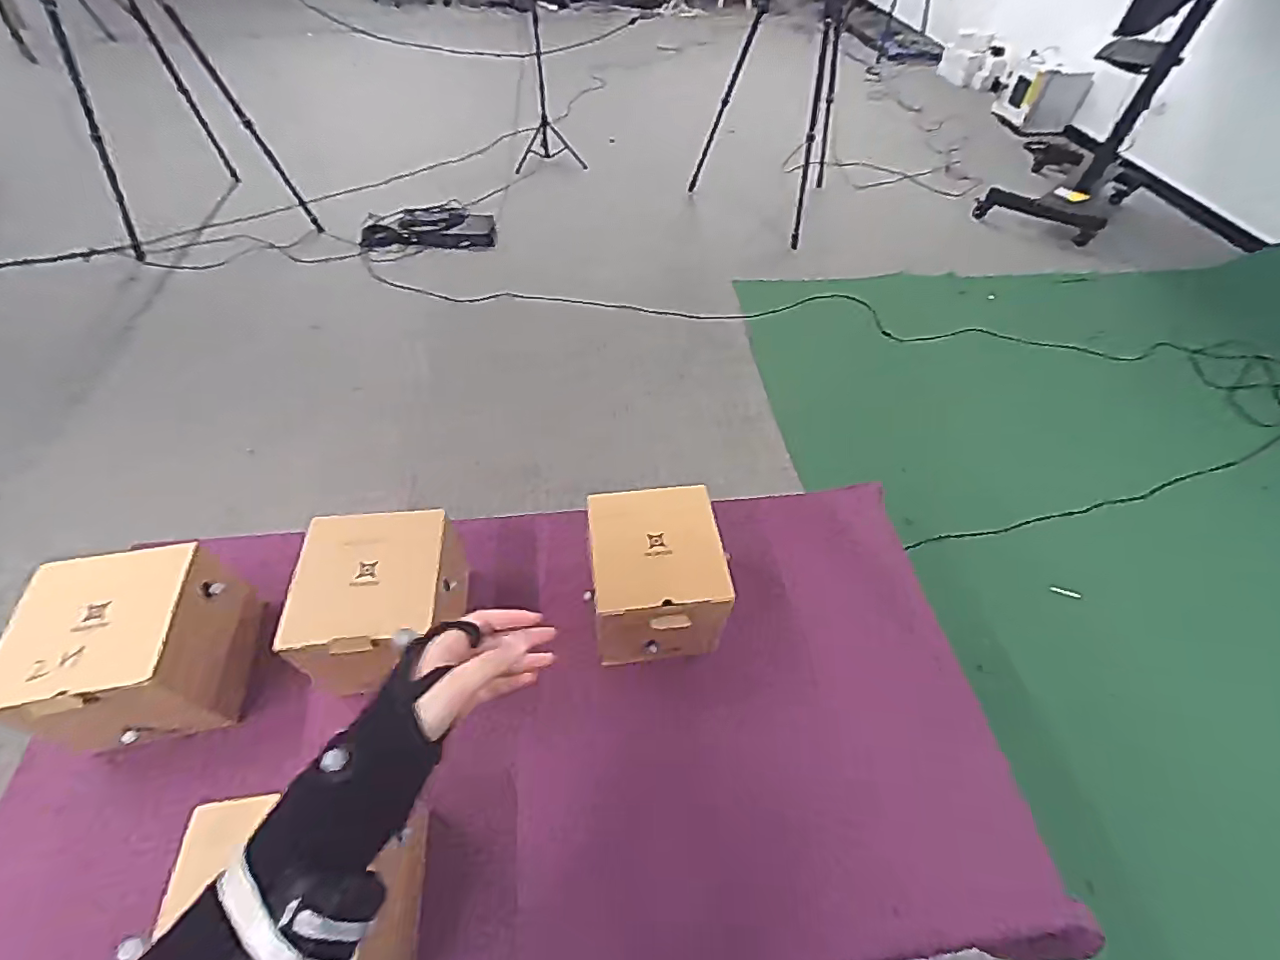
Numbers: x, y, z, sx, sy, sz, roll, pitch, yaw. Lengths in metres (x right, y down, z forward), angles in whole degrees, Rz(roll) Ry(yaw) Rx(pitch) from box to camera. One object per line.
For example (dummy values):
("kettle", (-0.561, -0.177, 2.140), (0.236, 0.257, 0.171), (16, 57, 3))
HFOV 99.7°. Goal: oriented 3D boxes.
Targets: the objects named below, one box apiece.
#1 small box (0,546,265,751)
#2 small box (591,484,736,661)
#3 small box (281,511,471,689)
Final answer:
("small box", (-0.599, 0.207, 0.663), (0.168, 0.176, 0.179), (-8, 53, -9))
("small box", (0.021, 0.129, 0.750), (0.168, 0.176, 0.179), (-6, 53, -7))
("small box", (-0.325, 0.163, 0.710), (0.168, 0.176, 0.179), (-3, 52, -6))
